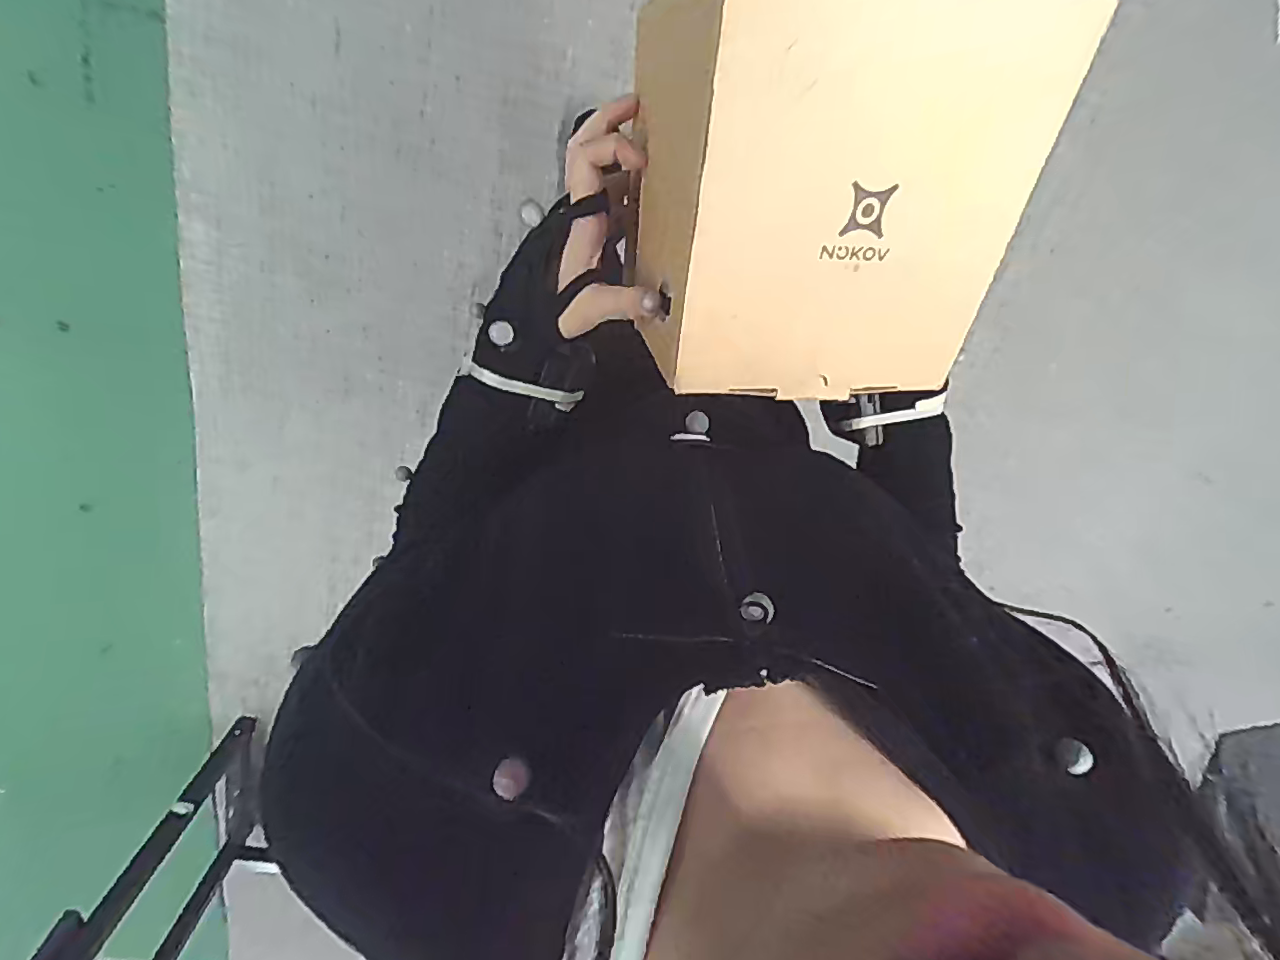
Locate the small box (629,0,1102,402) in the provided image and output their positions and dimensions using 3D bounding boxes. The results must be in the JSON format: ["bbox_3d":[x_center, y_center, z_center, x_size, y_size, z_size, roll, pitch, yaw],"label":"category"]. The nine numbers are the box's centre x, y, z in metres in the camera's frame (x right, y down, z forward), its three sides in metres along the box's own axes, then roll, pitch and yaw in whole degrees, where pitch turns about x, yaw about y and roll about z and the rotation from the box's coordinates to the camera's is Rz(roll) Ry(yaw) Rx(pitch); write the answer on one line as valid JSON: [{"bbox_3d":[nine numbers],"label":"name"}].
[{"bbox_3d":[0.091,-0.163,0.319,0.168,0.176,0.179,-3,128,-11],"label":"small box"}]
